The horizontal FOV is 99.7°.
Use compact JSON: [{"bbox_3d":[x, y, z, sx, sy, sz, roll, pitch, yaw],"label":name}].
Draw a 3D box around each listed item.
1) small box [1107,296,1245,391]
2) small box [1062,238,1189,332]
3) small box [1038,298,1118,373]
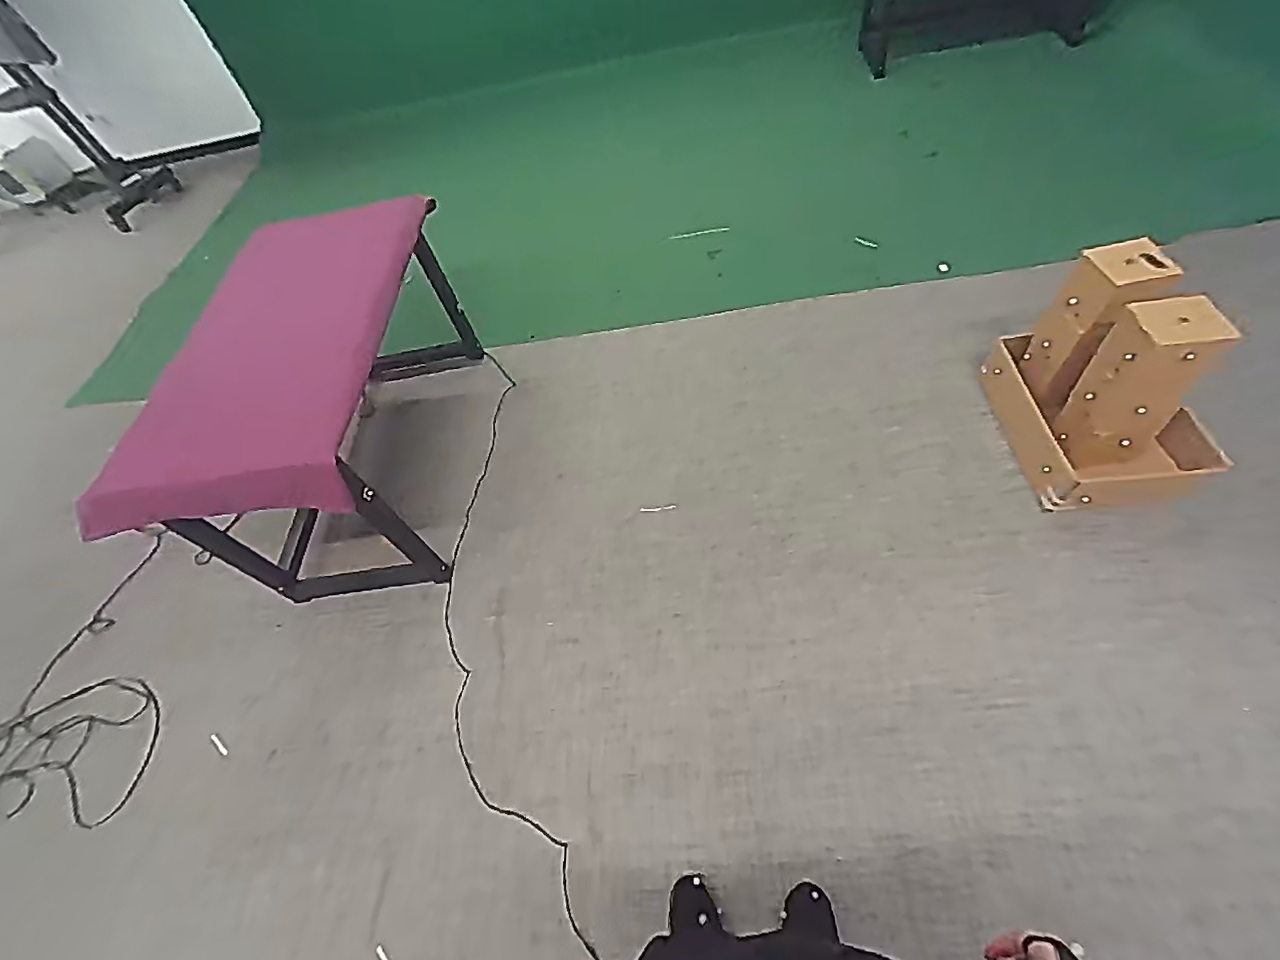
[{"bbox_3d":[1.361,-0.346,1.395,0.179,0.176,0.168,-3,54,10],"label":"small box"},{"bbox_3d":[1.356,-0.547,1.528,0.179,0.176,0.168,-10,55,4],"label":"small box"},{"bbox_3d":[1.377,-0.448,1.658,0.179,0.176,0.168,-6,56,7],"label":"small box"}]
